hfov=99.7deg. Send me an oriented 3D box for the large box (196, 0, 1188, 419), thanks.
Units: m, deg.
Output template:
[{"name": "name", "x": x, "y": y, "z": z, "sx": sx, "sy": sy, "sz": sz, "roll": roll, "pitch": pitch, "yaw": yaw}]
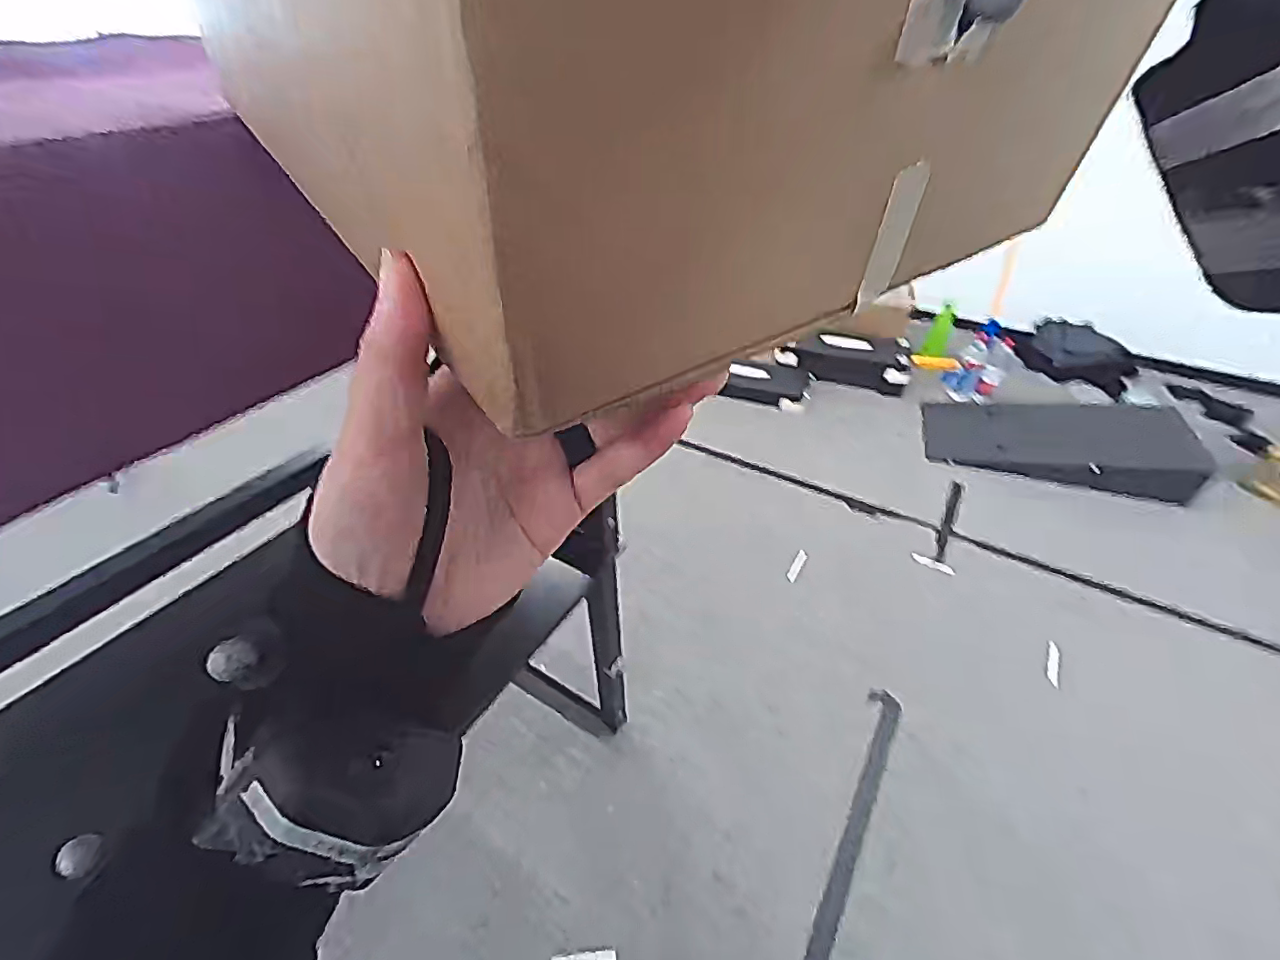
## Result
[{"name": "large box", "x": -0.014, "y": -0.289, "z": 0.207, "sx": 0.320, "sy": 0.320, "sz": 0.408, "roll": -26, "pitch": 53, "yaw": -27}]
